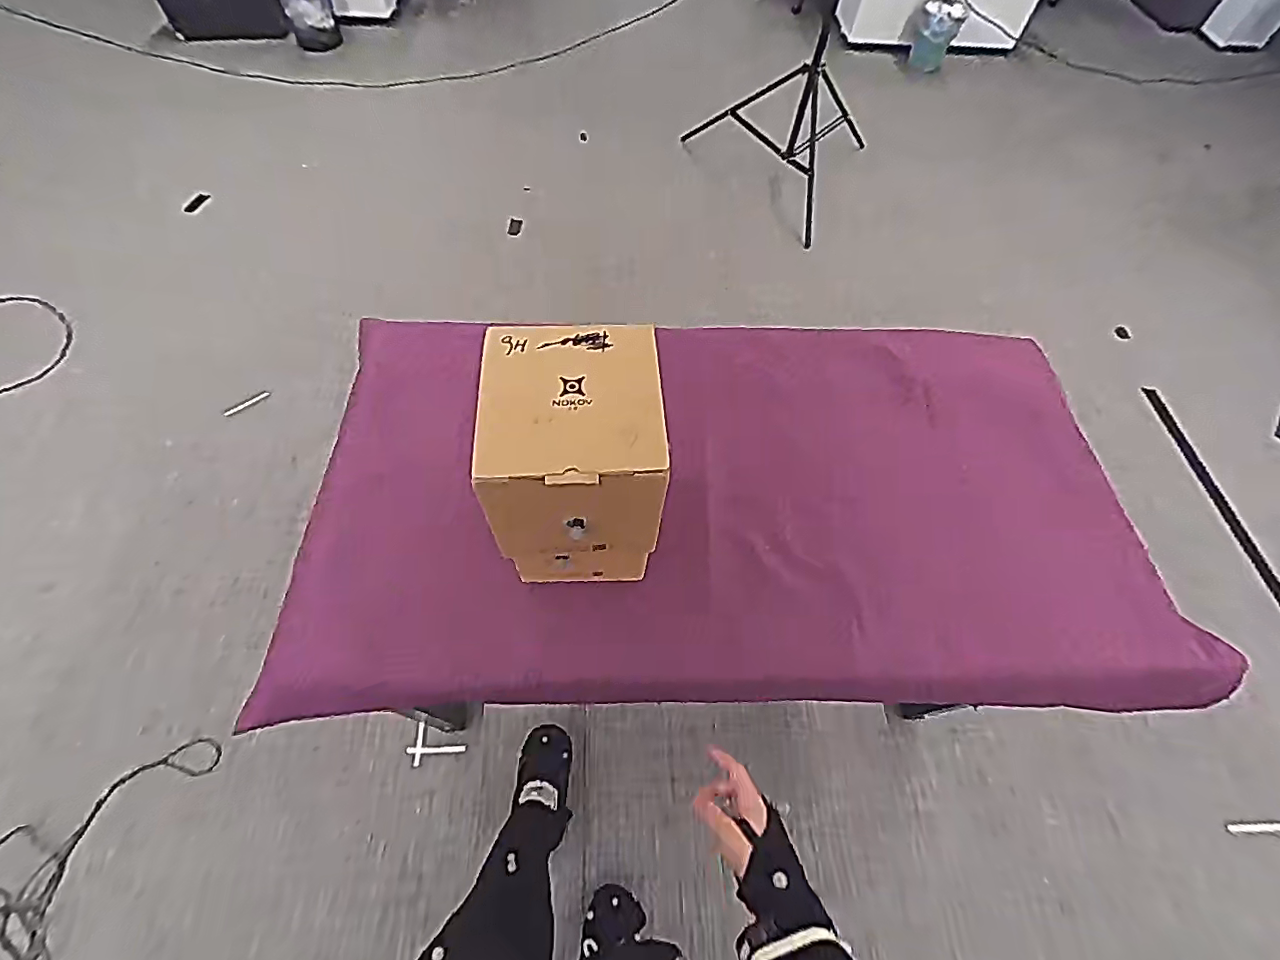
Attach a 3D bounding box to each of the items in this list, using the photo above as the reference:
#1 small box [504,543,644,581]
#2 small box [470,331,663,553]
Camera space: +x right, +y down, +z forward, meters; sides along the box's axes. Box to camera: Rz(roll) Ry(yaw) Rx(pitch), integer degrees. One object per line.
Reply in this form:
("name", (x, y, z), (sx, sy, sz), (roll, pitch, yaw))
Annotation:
("small box", (-0.078, 0.030, 0.714), (0.168, 0.176, 0.179), (-1, 60, -4))
("small box", (-0.068, -0.030, 0.559), (0.168, 0.176, 0.179), (-2, 60, -5))
